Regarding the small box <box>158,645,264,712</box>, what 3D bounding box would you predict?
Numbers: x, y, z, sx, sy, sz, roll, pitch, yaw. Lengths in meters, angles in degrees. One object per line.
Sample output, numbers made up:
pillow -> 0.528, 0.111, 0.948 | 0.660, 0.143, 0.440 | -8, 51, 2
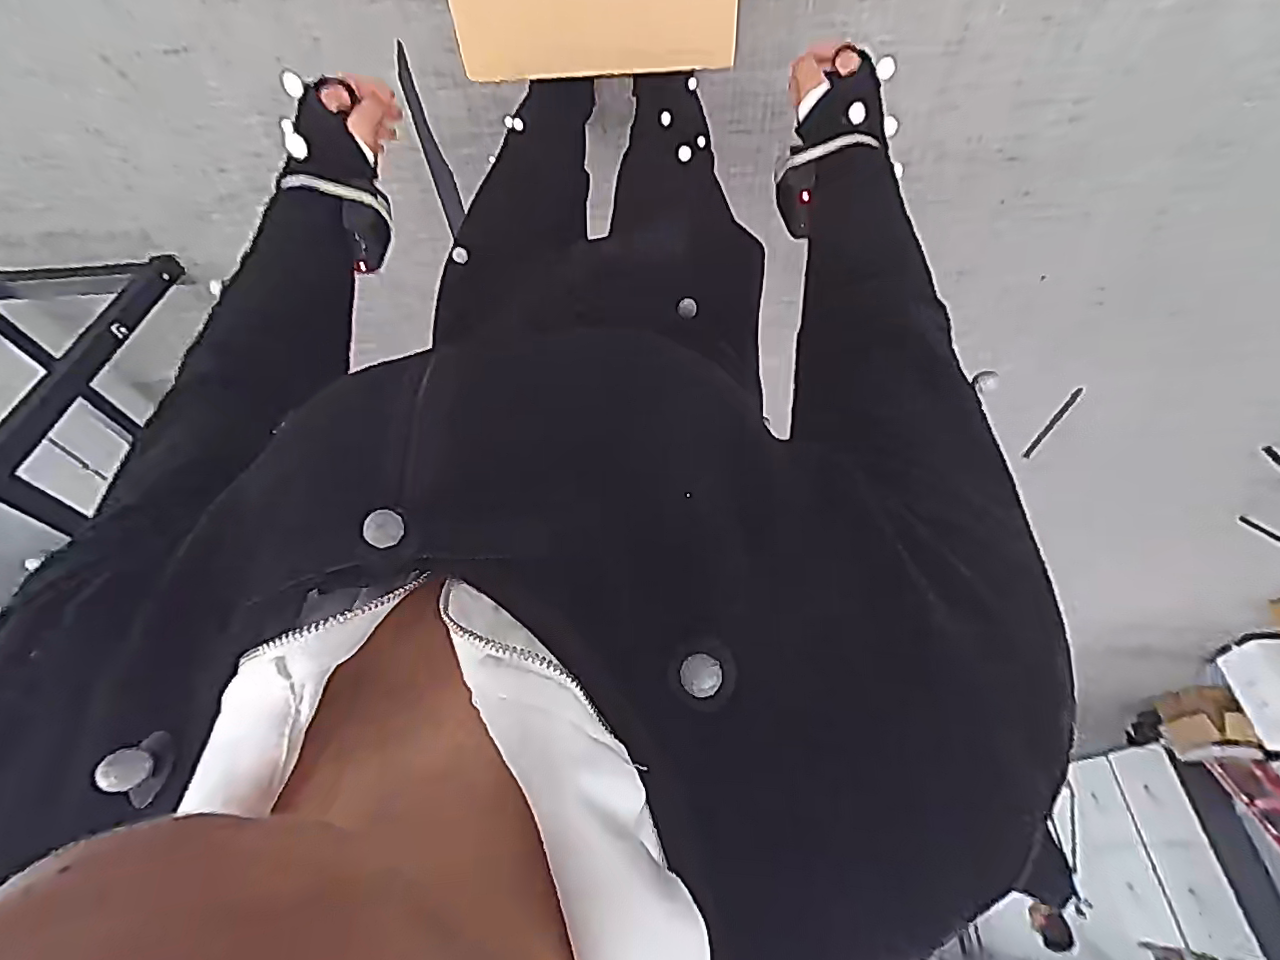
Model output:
small box -> -1.359, 0.635, 1.732 | 0.168, 0.176, 0.179 | -2, 145, 5
